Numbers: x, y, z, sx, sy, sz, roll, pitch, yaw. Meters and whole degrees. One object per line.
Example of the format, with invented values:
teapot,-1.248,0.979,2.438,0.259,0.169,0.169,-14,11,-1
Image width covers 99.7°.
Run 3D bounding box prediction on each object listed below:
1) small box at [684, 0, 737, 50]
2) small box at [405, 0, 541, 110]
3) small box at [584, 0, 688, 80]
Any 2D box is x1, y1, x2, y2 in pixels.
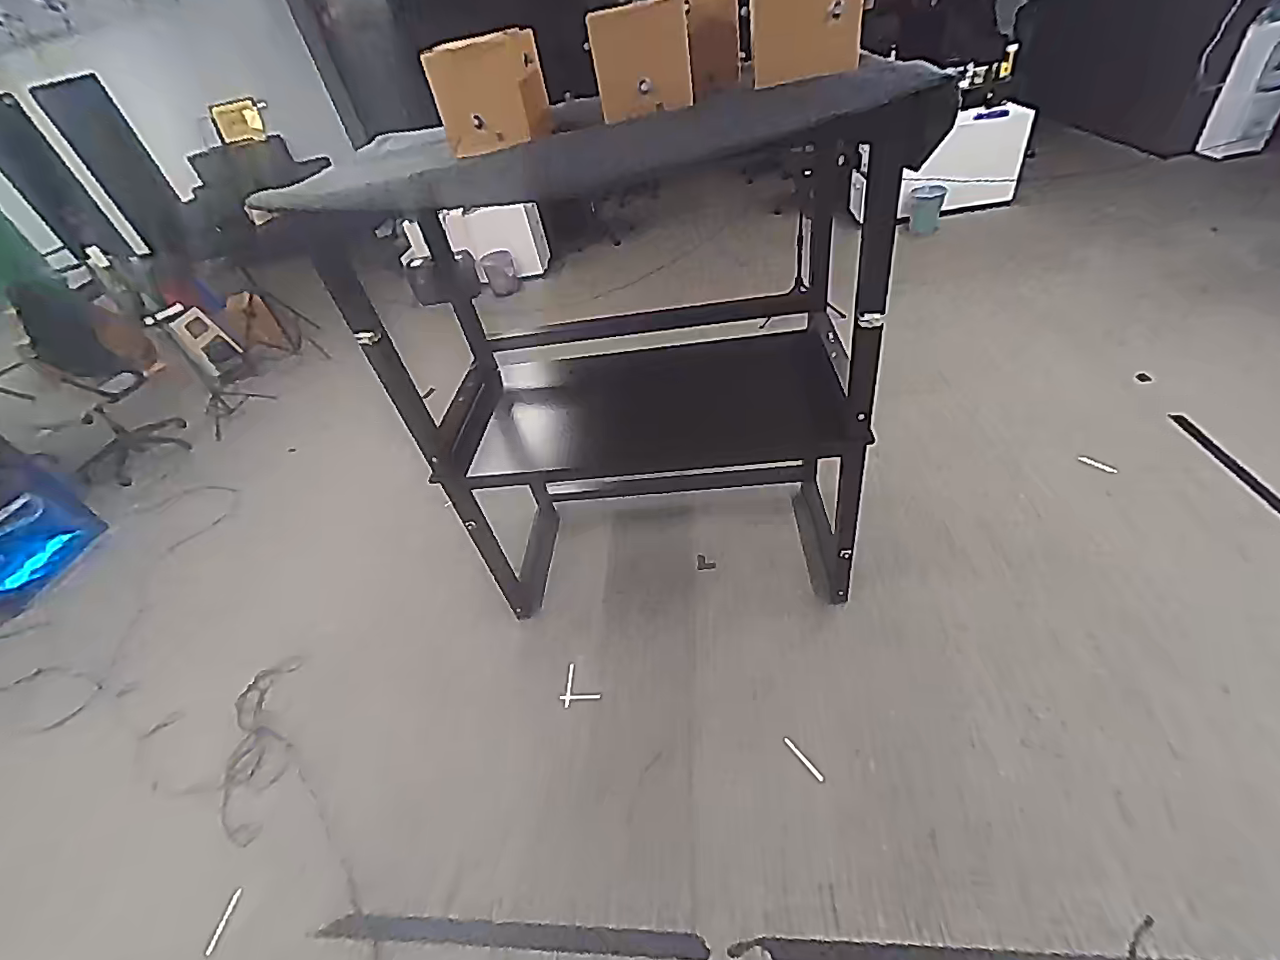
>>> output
small box,0.112,-1.007,1.122,0.168,0.176,0.179,-5,42,9
small box,-0.294,-0.802,0.997,0.168,0.176,0.179,-3,42,11
small box,-0.011,-0.831,0.959,0.168,0.176,0.179,-9,42,5
